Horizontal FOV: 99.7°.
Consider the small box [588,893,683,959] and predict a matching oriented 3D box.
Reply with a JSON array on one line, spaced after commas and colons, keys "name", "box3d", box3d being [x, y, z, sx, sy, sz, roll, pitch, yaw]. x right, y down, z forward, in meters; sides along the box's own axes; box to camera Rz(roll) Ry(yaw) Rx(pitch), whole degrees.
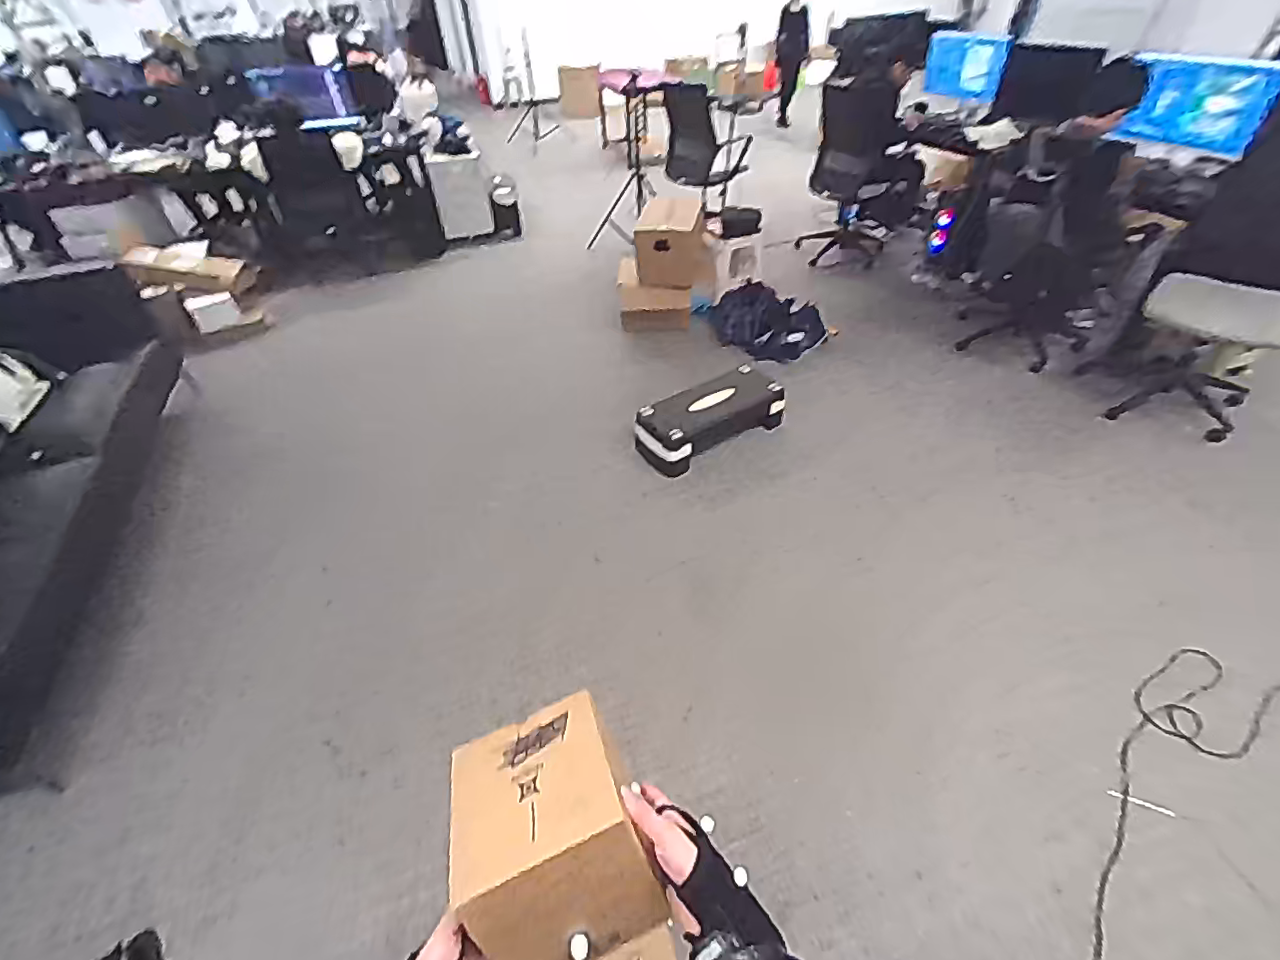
[{"name": "small box", "box3d": [0.002, 0.999, 1.110, 0.168, 0.176, 0.179, -18, 46, -14]}]
